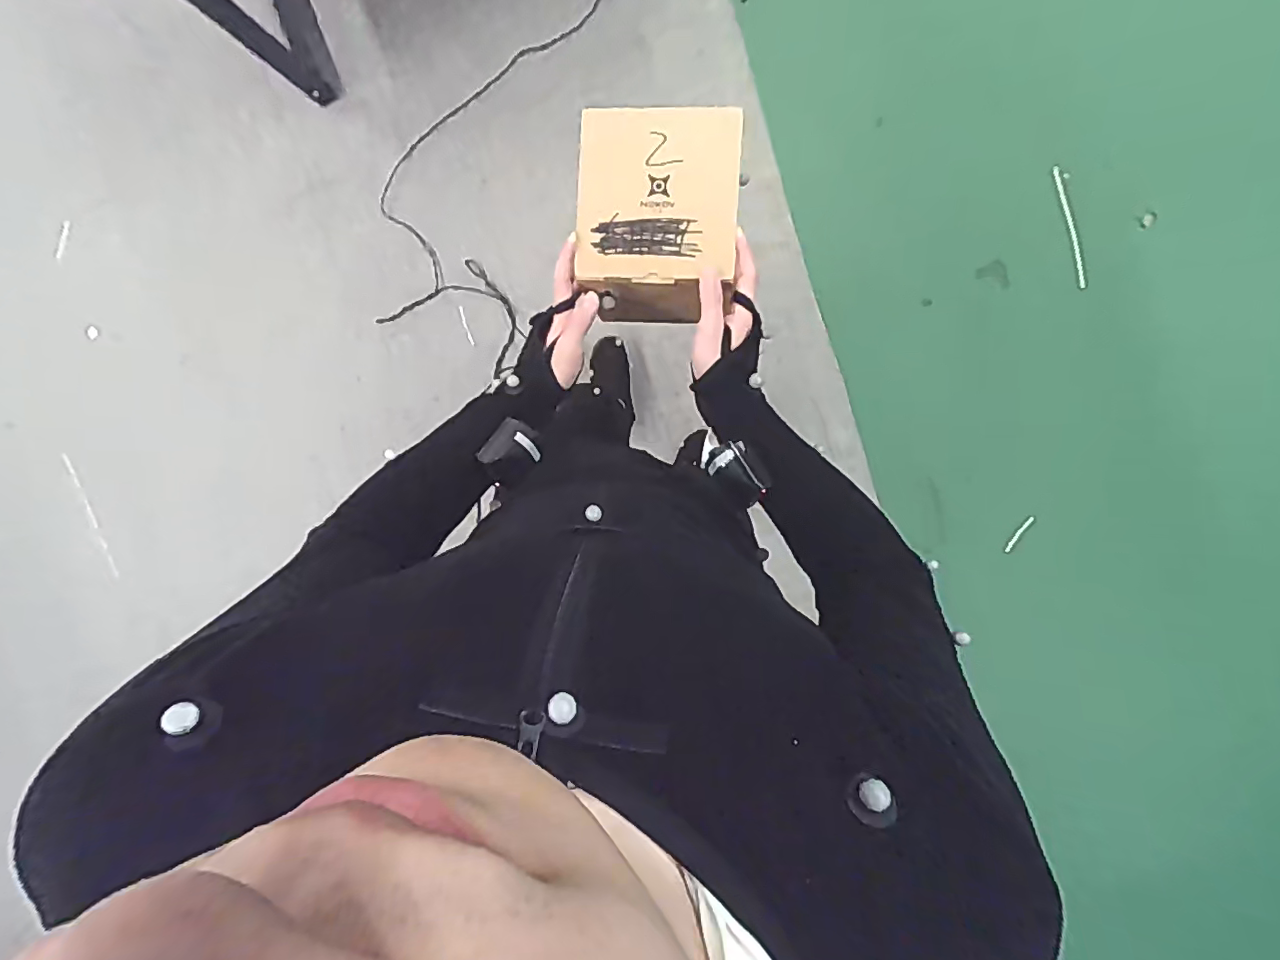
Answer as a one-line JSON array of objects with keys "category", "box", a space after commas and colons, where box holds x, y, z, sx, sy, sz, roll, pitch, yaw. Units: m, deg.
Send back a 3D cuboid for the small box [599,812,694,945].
[{"category": "small box", "box": [0.024, 0.907, 1.240, 0.168, 0.176, 0.179, -15, 94, 10]}]
